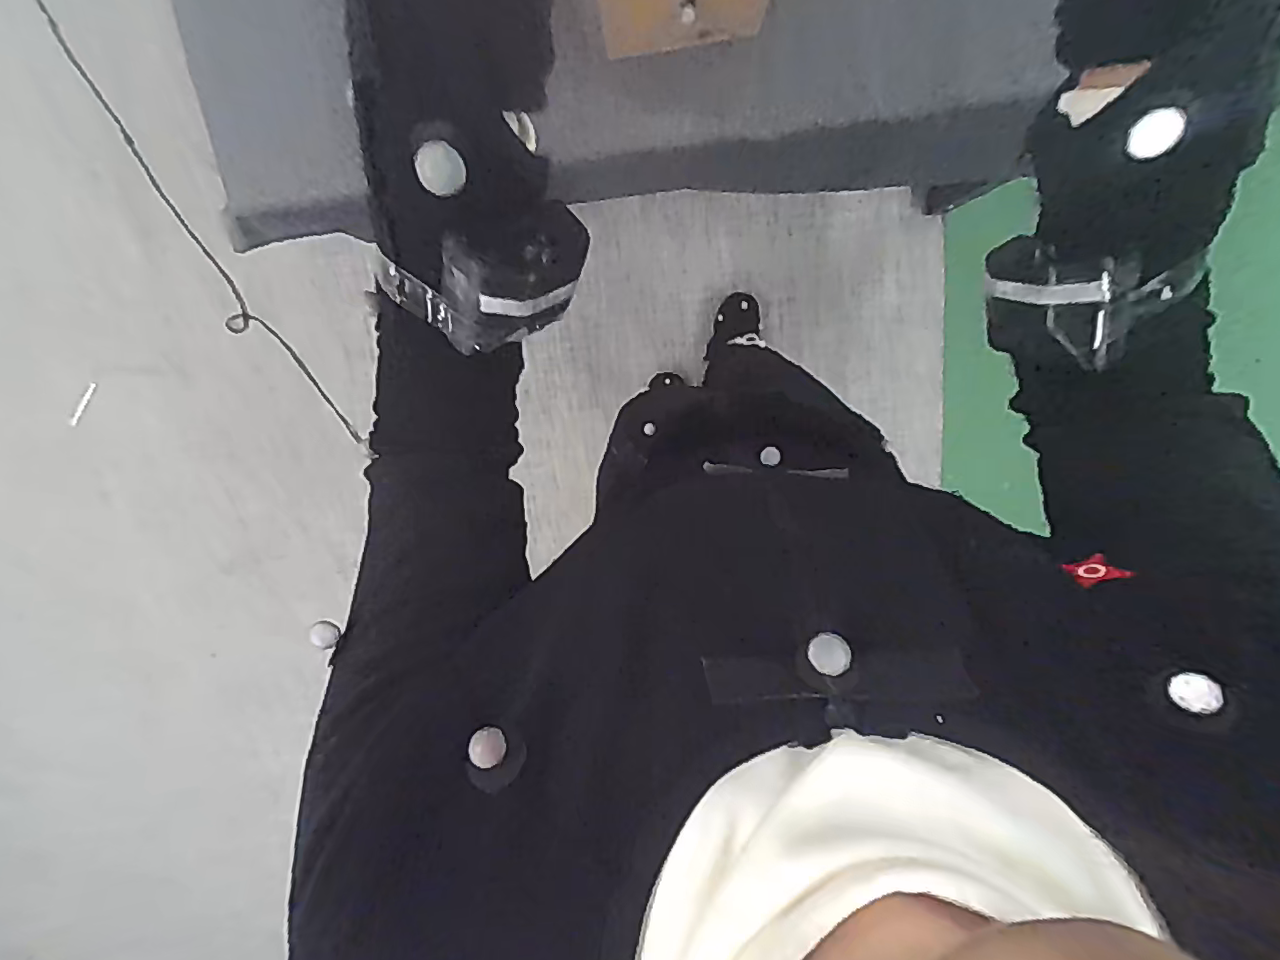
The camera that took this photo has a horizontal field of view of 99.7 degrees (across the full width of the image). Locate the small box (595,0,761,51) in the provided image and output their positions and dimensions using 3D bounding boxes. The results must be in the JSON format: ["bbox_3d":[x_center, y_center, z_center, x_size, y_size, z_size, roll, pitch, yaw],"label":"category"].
[{"bbox_3d":[0.029,-0.530,0.490,0.168,0.176,0.179,-8,103,3],"label":"small box"}]
